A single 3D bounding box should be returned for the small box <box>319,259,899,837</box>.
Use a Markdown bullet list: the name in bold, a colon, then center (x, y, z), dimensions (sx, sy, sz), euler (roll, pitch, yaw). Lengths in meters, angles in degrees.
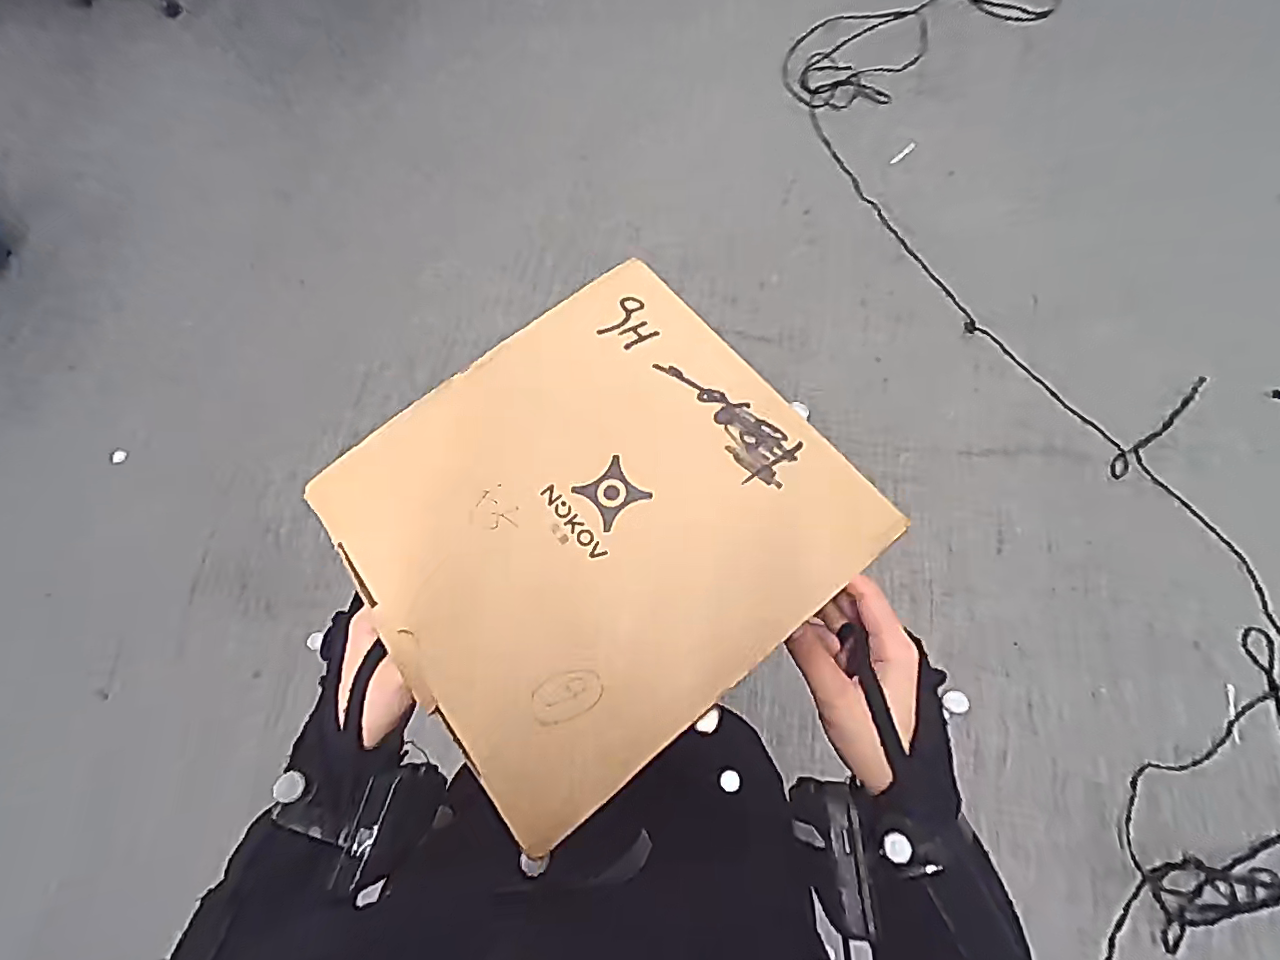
- **small box**: center (-0.012, 0.034, 0.286), dimensions (0.179, 0.176, 0.168), euler (-37, 73, -8)
